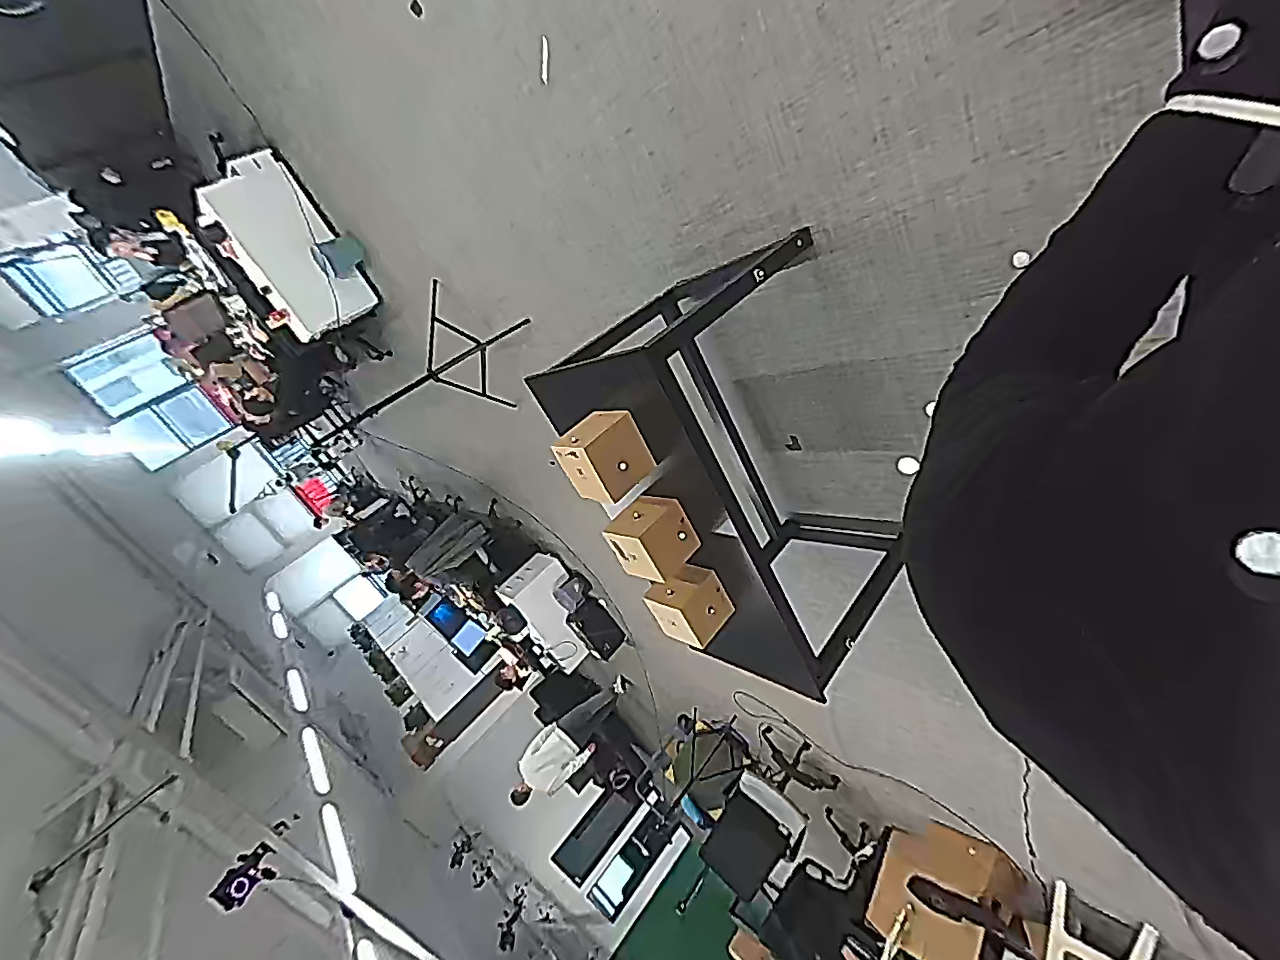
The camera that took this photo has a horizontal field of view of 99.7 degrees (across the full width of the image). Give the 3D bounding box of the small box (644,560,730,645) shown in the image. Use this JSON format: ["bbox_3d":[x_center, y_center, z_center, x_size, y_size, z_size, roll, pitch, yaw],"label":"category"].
[{"bbox_3d":[0.151,0.363,1.641,0.179,0.176,0.168,5,130,53],"label":"small box"}]

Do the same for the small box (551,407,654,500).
[{"bbox_3d":[-0.092,-0.073,1.418,0.168,0.176,0.179,8,134,51],"label":"small box"}]

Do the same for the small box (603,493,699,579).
[{"bbox_3d":[0.035,0.151,1.530,0.179,0.176,0.168,4,130,53],"label":"small box"}]
